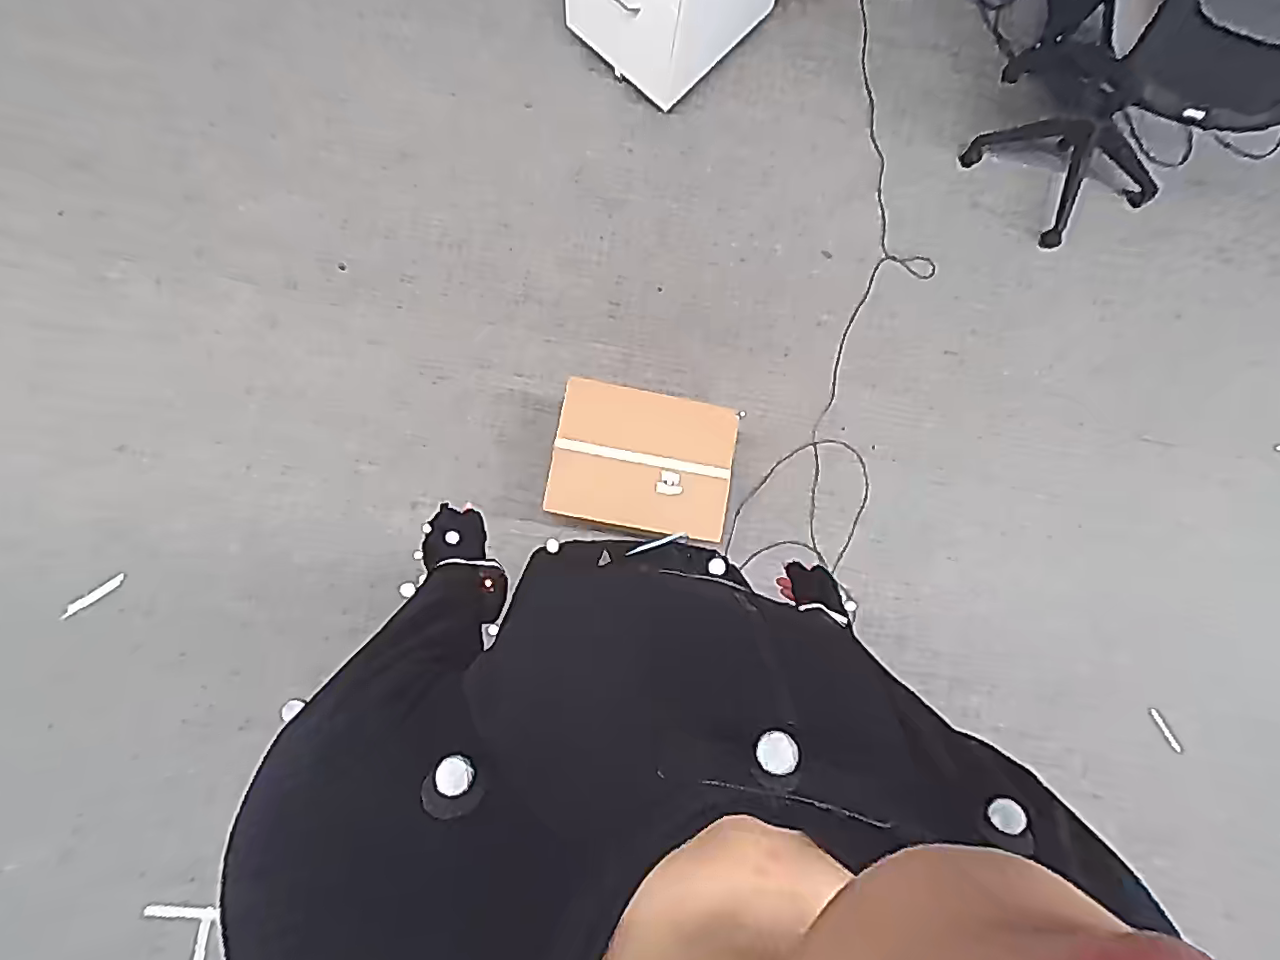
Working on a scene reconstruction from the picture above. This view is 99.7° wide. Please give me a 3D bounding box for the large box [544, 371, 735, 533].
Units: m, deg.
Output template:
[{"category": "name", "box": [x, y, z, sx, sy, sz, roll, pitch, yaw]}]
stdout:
[{"category": "large box", "box": [-0.013, -0.050, 1.372, 0.408, 0.320, 0.320, 11, 83, -5]}]
